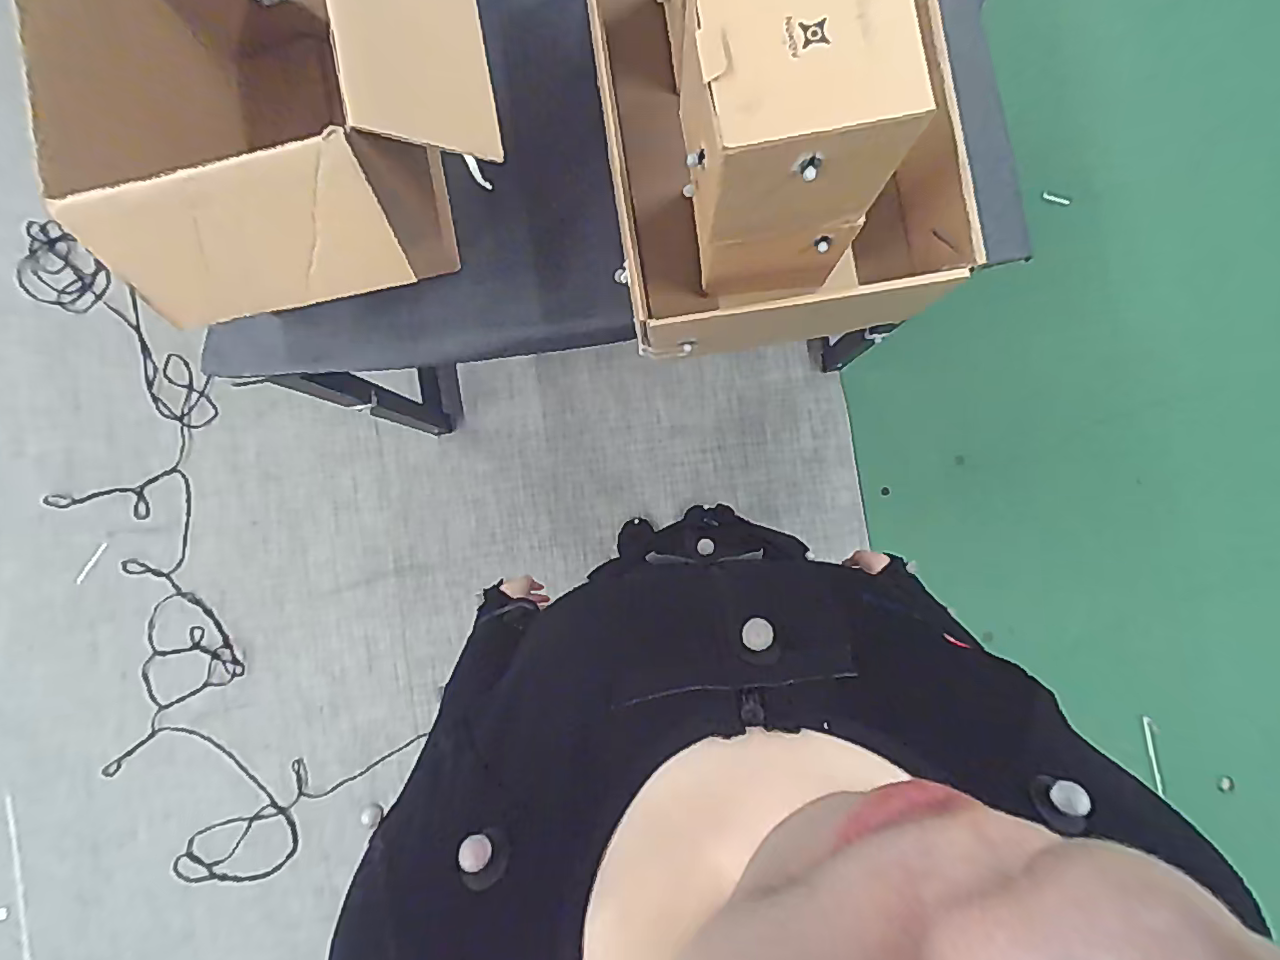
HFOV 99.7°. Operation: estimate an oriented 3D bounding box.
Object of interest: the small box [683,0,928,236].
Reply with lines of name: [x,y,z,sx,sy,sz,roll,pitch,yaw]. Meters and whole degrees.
small box: [0.137,-0.359,0.520,0.179,0.176,0.168,-10,88,1]
